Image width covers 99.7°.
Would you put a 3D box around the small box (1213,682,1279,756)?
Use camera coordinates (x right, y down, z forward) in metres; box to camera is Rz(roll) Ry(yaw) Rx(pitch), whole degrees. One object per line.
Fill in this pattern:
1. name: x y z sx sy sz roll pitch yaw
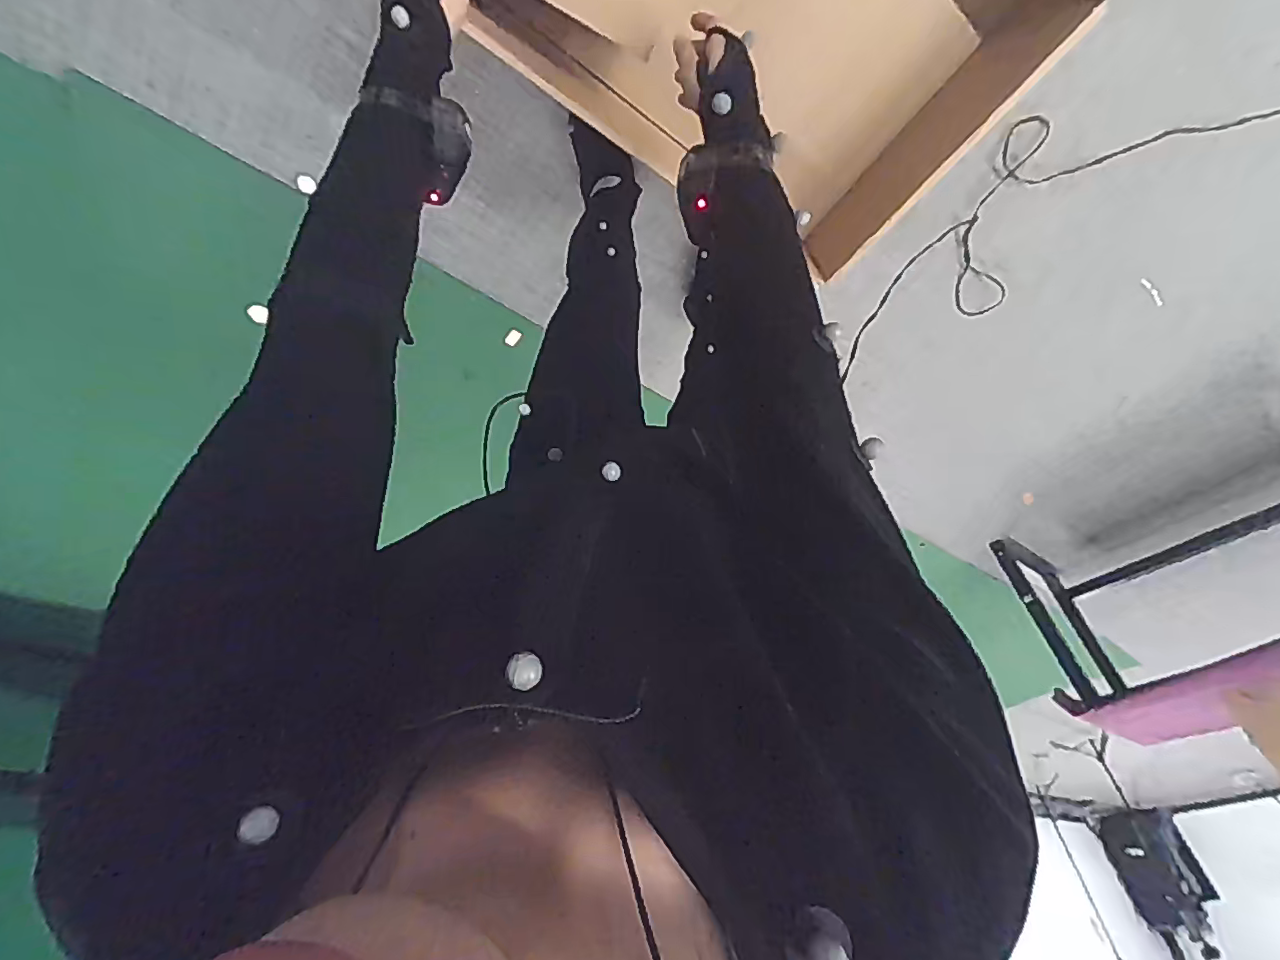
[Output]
1. small box: 1.894 0.723 1.622 0.179 0.176 0.168 26 130 -30

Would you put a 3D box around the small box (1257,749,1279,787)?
1. small box: 1.911 0.846 1.517 0.179 0.176 0.168 26 130 -30
